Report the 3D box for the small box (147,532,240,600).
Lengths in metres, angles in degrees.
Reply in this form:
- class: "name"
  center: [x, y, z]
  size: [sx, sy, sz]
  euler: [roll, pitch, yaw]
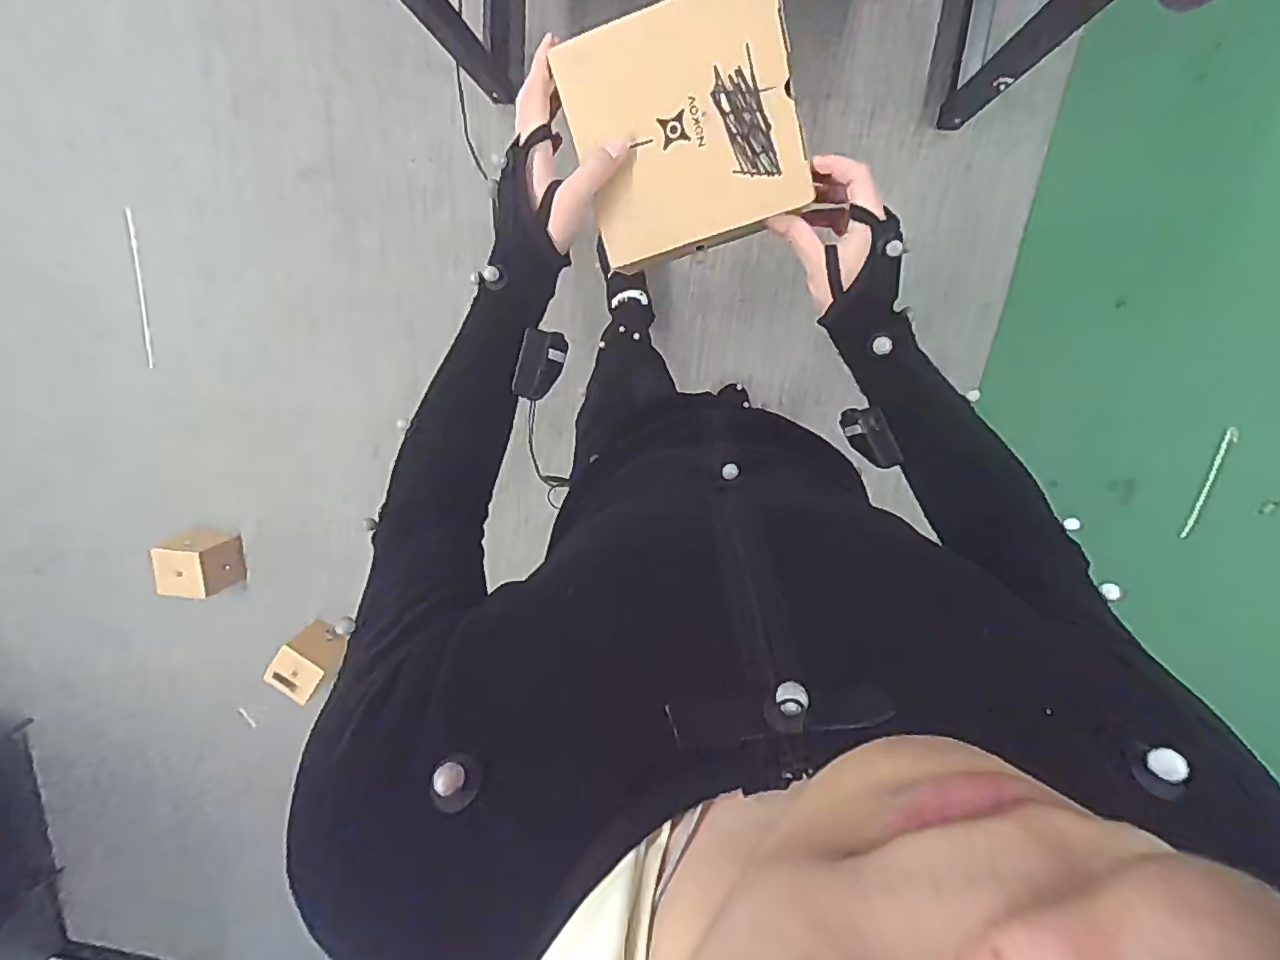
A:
- class: "small box"
  center: [-1.486, 0.283, 1.814]
  size: [0.179, 0.176, 0.168]
  euler: [5, 104, 6]
